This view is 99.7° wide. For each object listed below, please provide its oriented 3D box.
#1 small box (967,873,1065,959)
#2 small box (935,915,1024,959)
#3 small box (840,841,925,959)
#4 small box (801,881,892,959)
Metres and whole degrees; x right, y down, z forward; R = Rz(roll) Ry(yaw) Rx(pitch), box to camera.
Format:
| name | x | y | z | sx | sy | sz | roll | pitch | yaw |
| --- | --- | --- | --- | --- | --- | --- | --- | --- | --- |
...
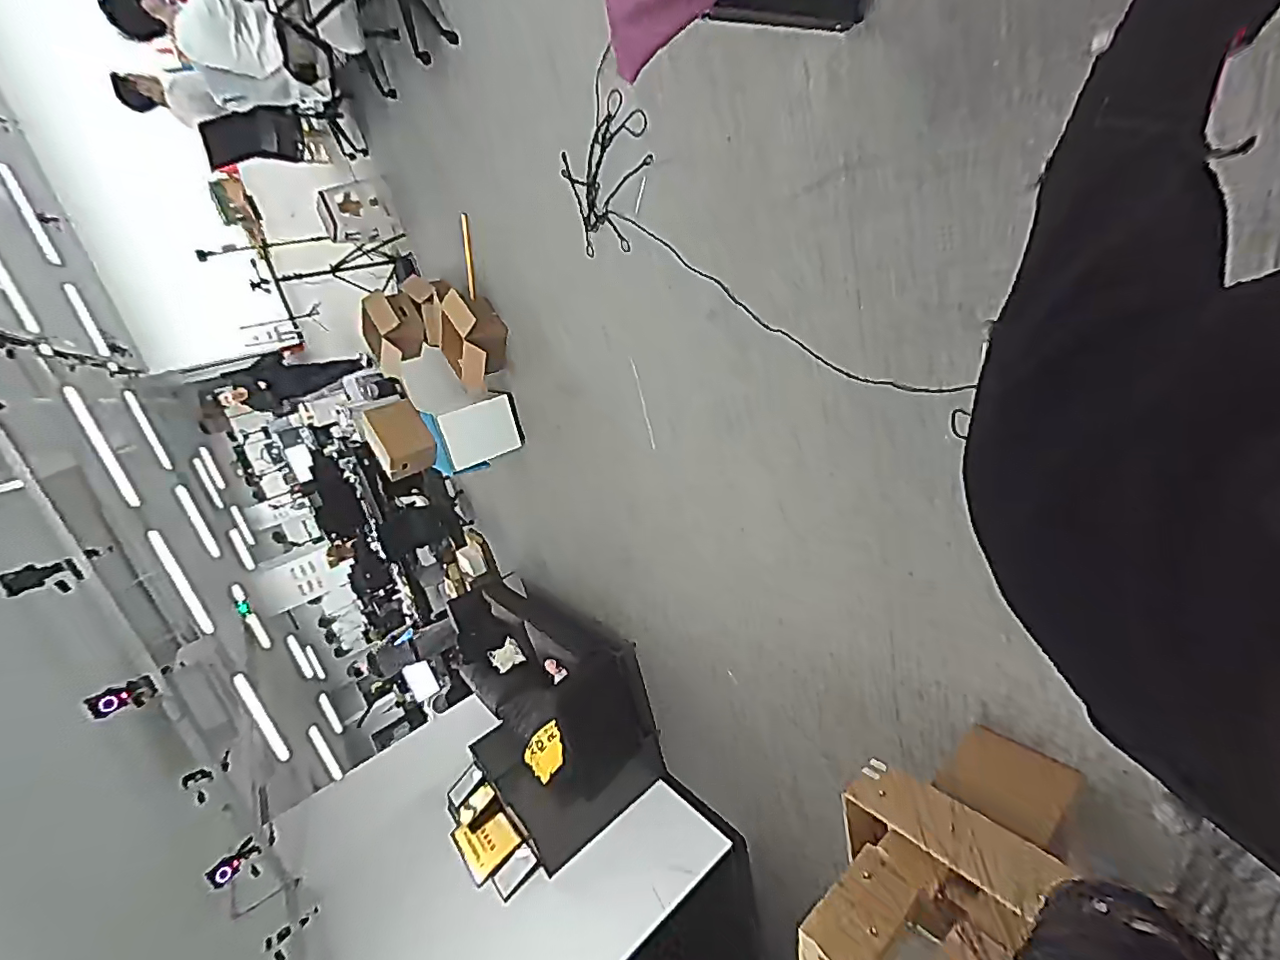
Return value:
| name | x | y | z | sx | sy | sz | roll | pitch | yaw |
| --- | --- | --- | --- | --- | --- | --- | --- | --- | --- |
| small box | 0.980 | 1.192 | 1.408 | 0.168 | 0.176 | 0.179 | 9 | 119 | 53 |
| small box | 0.845 | 1.238 | 1.327 | 0.168 | 0.176 | 0.179 | 10 | 120 | 54 |
| small box | 0.685 | 1.181 | 1.533 | 0.168 | 0.176 | 0.179 | 22 | 130 | 49 |
| small box | 0.555 | 1.238 | 1.451 | 0.168 | 0.176 | 0.179 | 26 | 133 | 47 |
